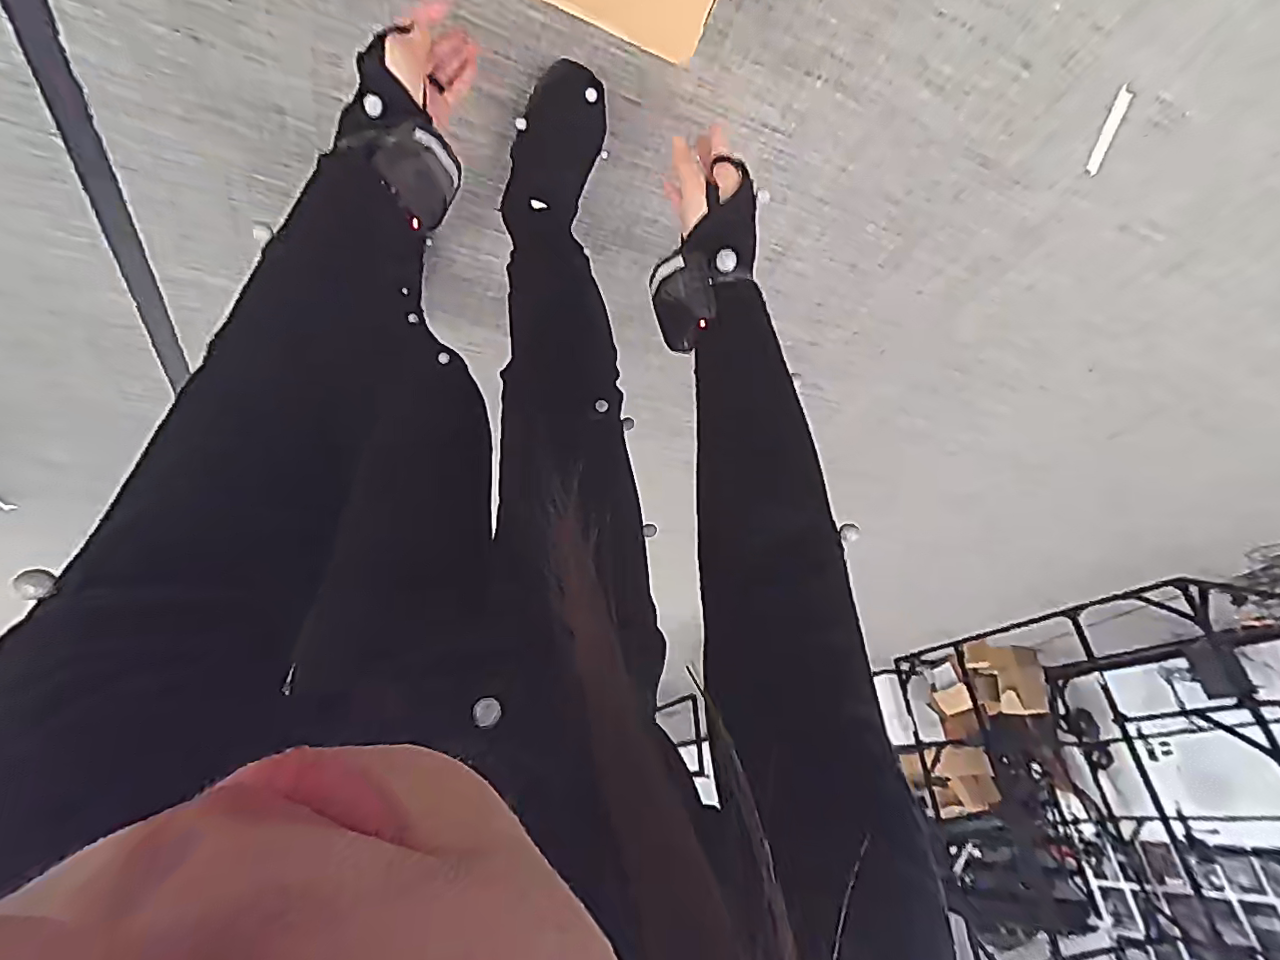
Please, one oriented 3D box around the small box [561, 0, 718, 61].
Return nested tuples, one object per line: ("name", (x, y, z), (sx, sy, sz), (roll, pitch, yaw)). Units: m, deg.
("small box", (-0.011, -0.460, 0.384), (0.179, 0.176, 0.168), (10, 147, -22))
